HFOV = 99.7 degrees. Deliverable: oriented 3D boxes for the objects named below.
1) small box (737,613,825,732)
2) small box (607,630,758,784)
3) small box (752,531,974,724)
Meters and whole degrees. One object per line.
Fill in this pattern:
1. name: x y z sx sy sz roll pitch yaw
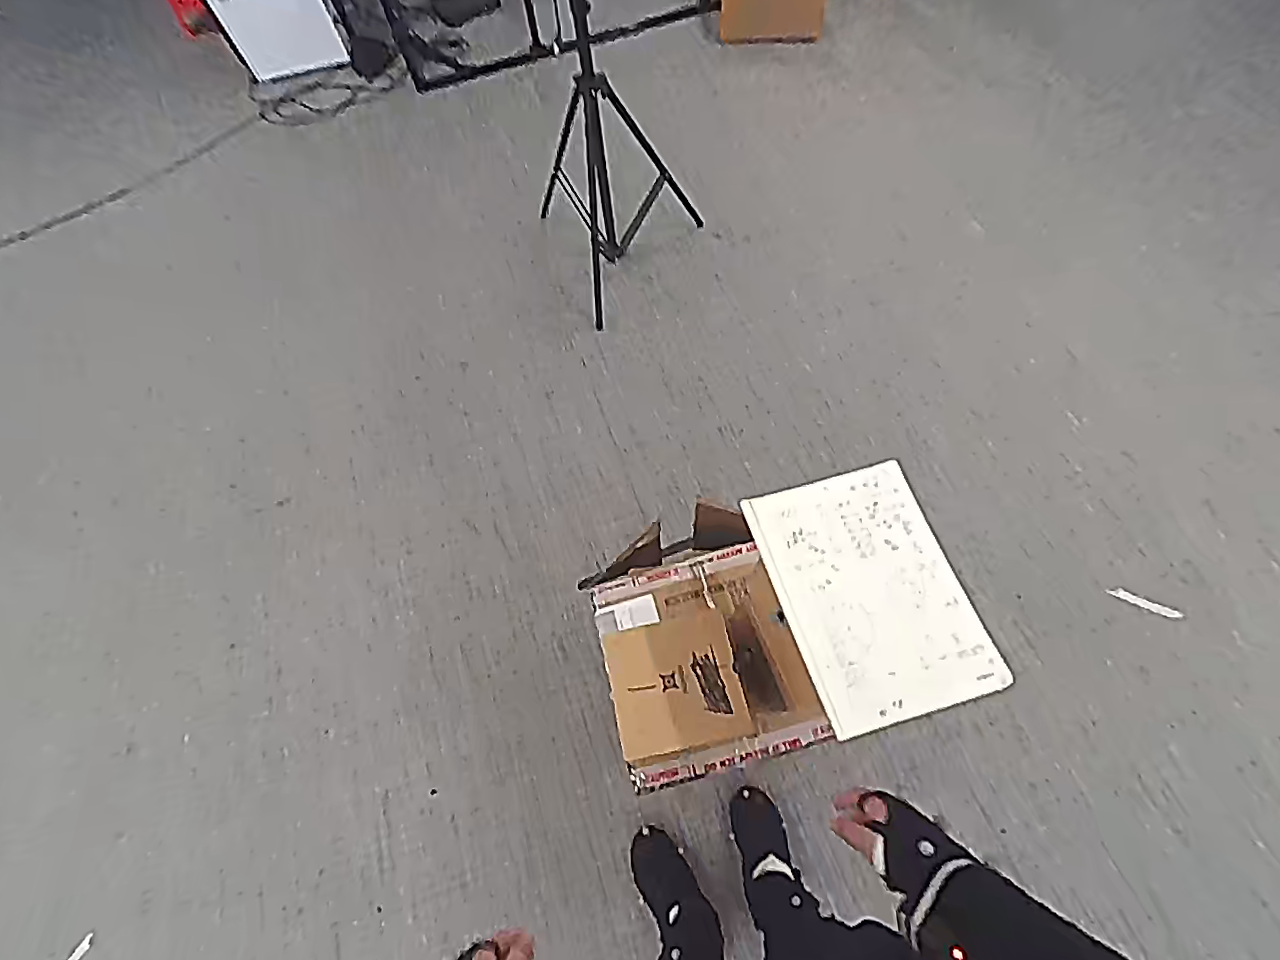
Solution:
1. small box: 0.264 0.262 0.815 0.179 0.176 0.168 -19 66 -7
2. small box: 0.058 0.329 0.797 0.179 0.176 0.168 -13 66 0
3. small box: 0.254 0.189 0.671 0.168 0.176 0.179 -17 67 -6
